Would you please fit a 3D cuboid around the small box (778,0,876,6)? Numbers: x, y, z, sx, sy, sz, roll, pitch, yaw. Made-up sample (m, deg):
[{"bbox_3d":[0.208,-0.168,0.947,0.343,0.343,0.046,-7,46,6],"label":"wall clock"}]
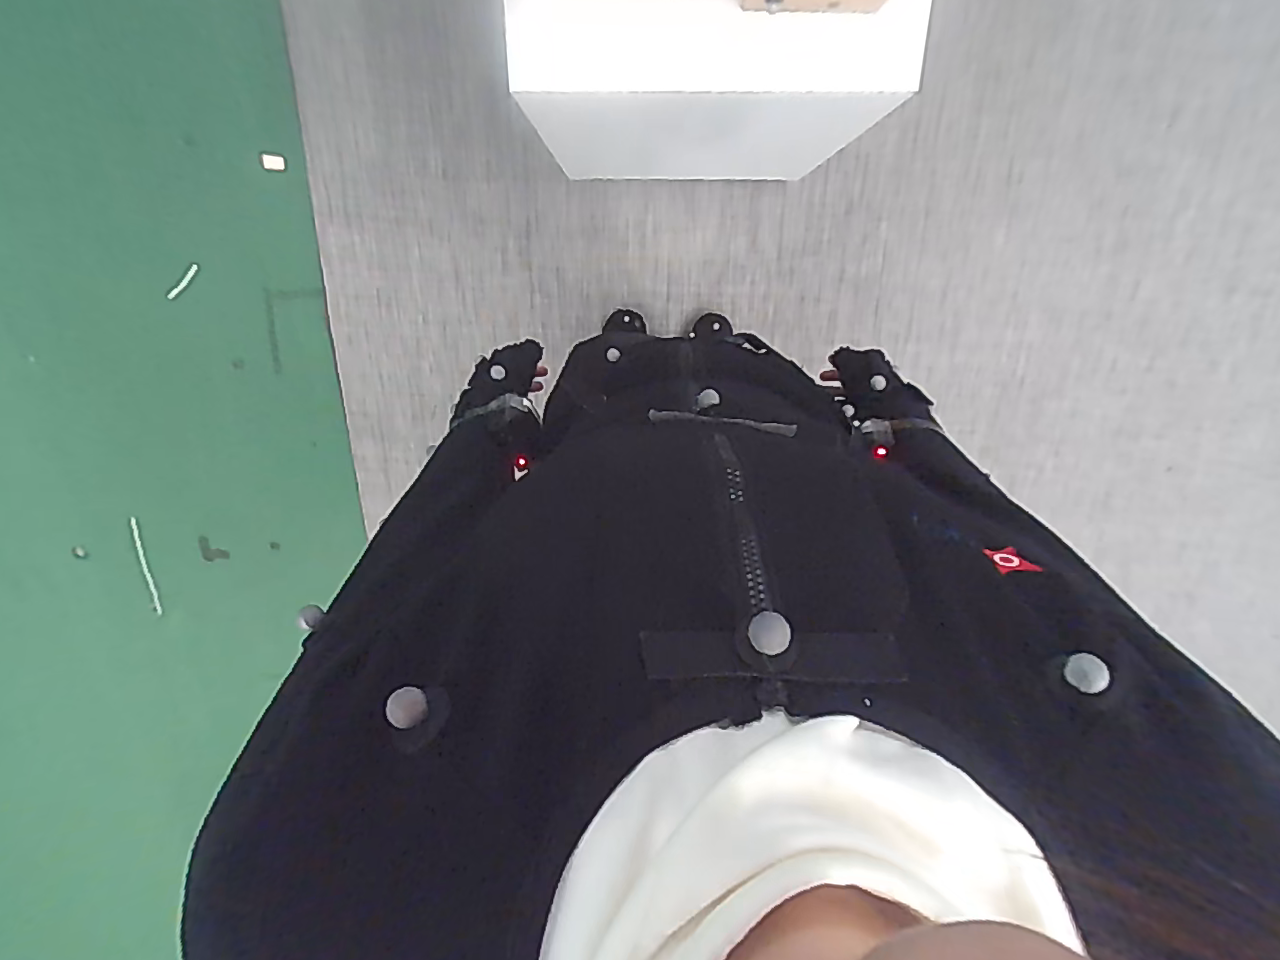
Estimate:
[{"bbox_3d":[0.201,-0.616,0.538,0.168,0.176,0.179,2,108,1],"label":"small box"}]
